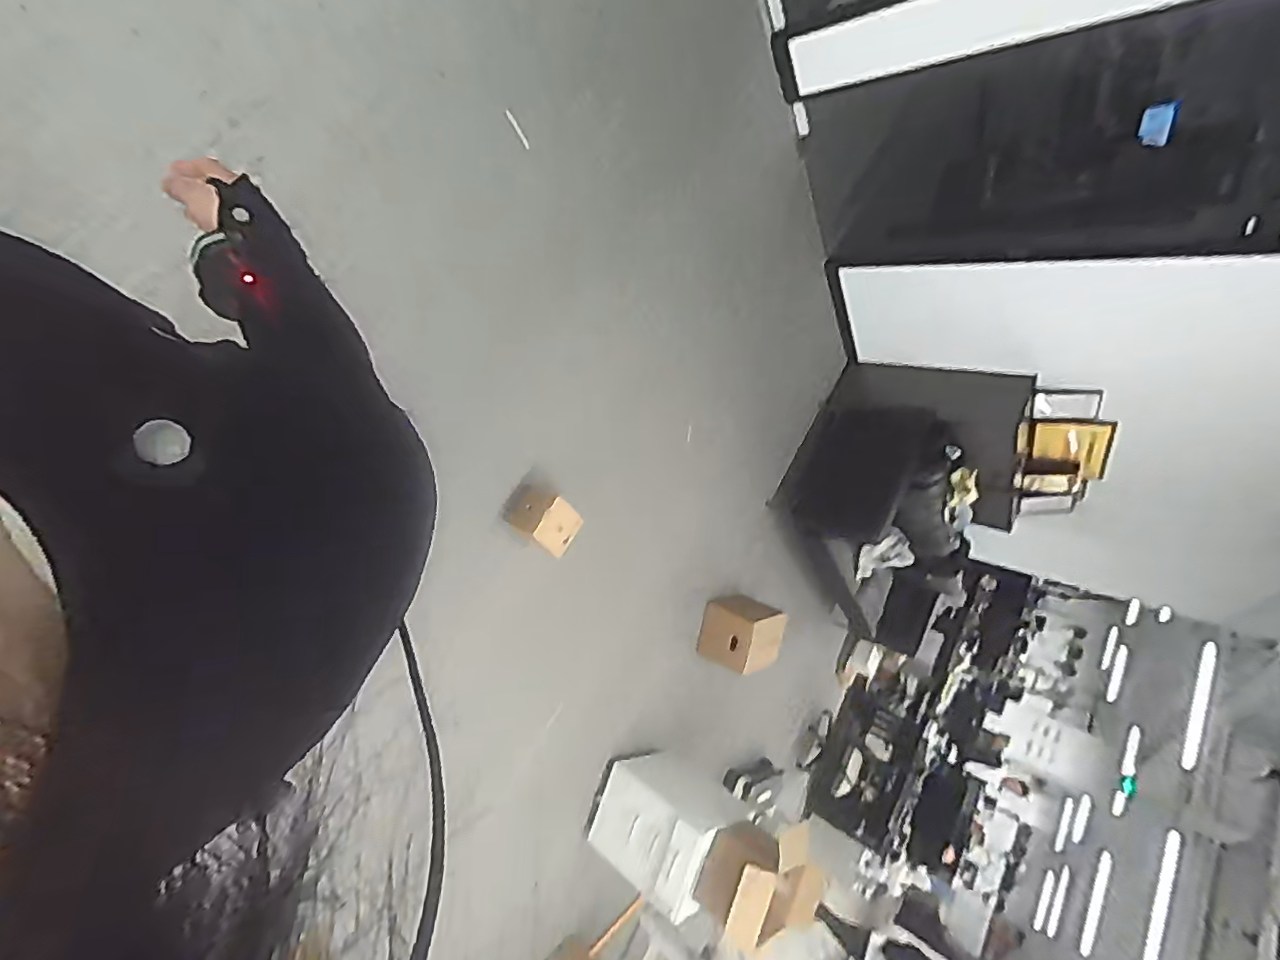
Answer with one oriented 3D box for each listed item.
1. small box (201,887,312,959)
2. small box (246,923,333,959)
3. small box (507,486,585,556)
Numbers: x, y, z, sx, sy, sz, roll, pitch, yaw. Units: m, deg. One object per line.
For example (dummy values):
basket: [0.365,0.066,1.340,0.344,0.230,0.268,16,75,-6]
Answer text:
small box: [-1.039,1.239,1.459,0.168,0.176,0.179,40,72,-47]
small box: [-0.907,1.280,1.369,0.168,0.176,0.179,46,67,-47]
small box: [-0.333,0.138,1.909,0.168,0.176,0.179,-57,138,-19]
